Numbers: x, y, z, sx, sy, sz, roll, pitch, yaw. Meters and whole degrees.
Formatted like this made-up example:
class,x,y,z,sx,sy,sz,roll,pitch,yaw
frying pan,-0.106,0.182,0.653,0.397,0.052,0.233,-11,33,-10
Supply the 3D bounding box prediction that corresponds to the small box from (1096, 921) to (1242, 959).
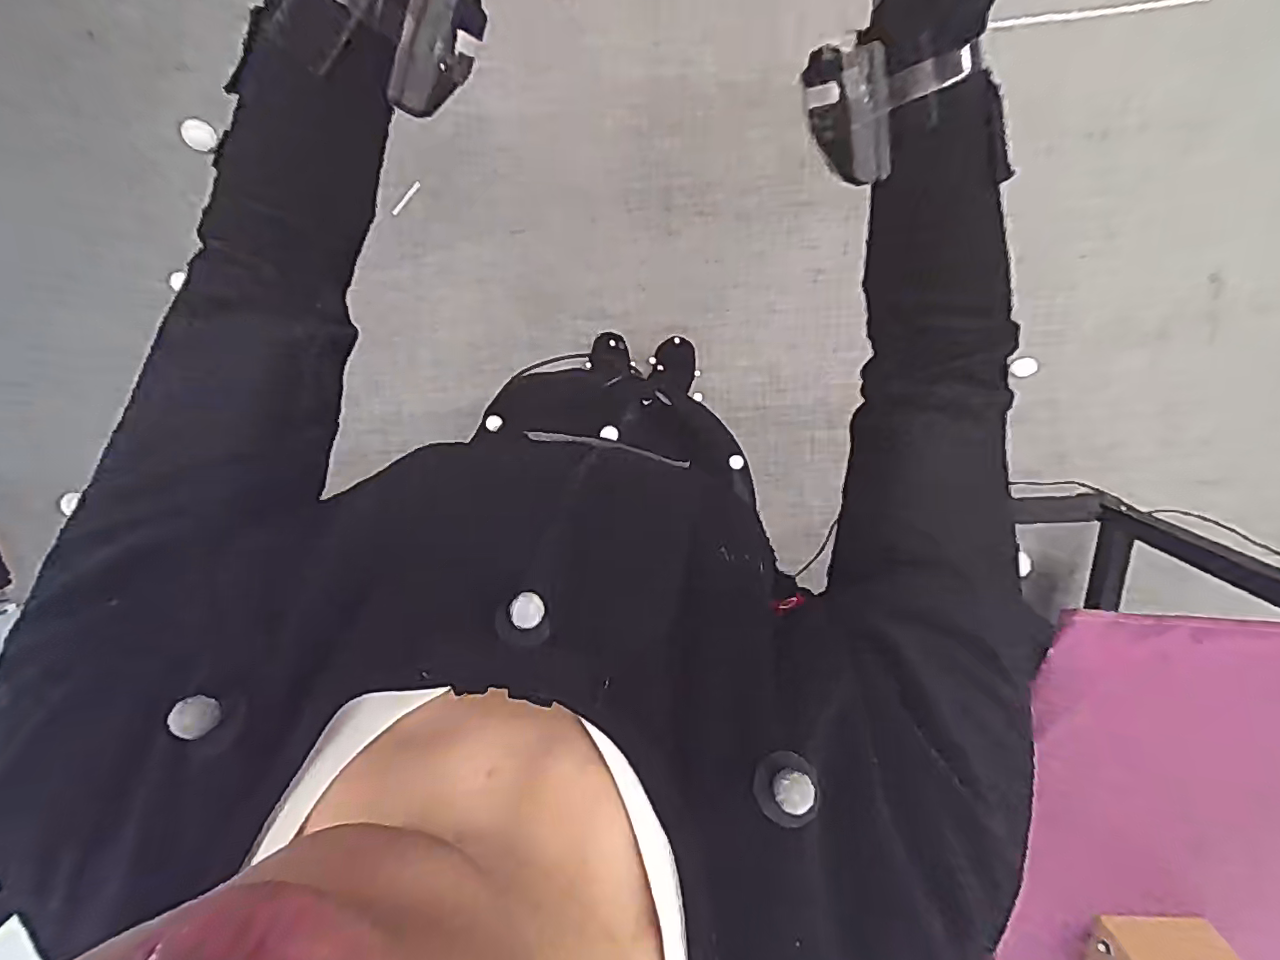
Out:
class,x,y,z,sx,sy,sz,roll,pitch,yaw
small box,0.850,0.828,0.836,0.179,0.176,0.168,-1,106,3
